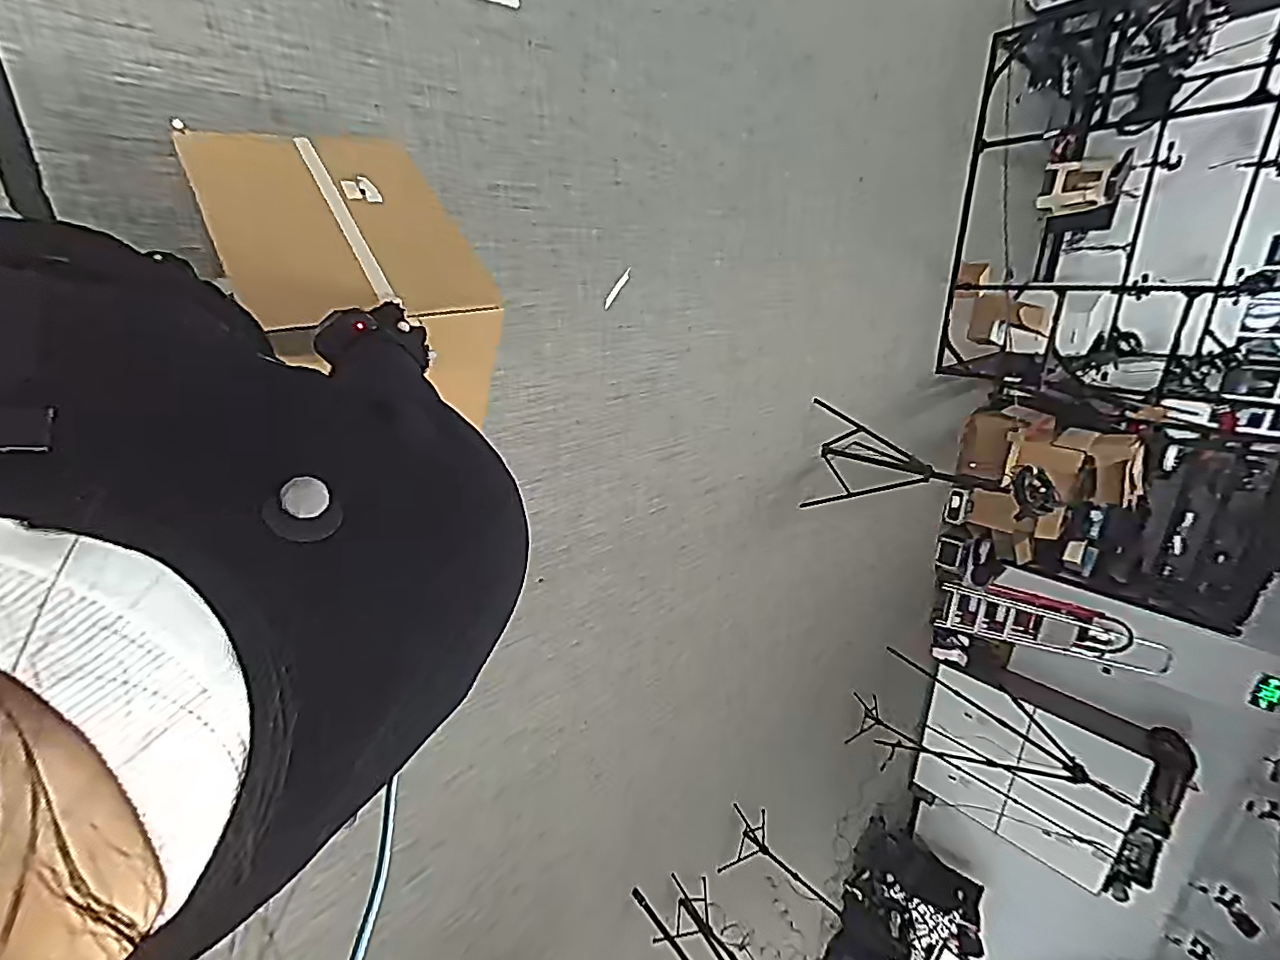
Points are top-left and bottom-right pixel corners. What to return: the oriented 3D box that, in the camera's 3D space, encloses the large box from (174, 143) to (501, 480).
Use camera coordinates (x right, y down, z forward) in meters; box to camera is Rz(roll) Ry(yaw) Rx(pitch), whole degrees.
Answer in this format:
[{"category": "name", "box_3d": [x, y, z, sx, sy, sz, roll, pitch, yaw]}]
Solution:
[{"category": "large box", "box_3d": [-0.474, -0.273, 0.882, 0.320, 0.408, 0.320, -20, 155, -36]}]
